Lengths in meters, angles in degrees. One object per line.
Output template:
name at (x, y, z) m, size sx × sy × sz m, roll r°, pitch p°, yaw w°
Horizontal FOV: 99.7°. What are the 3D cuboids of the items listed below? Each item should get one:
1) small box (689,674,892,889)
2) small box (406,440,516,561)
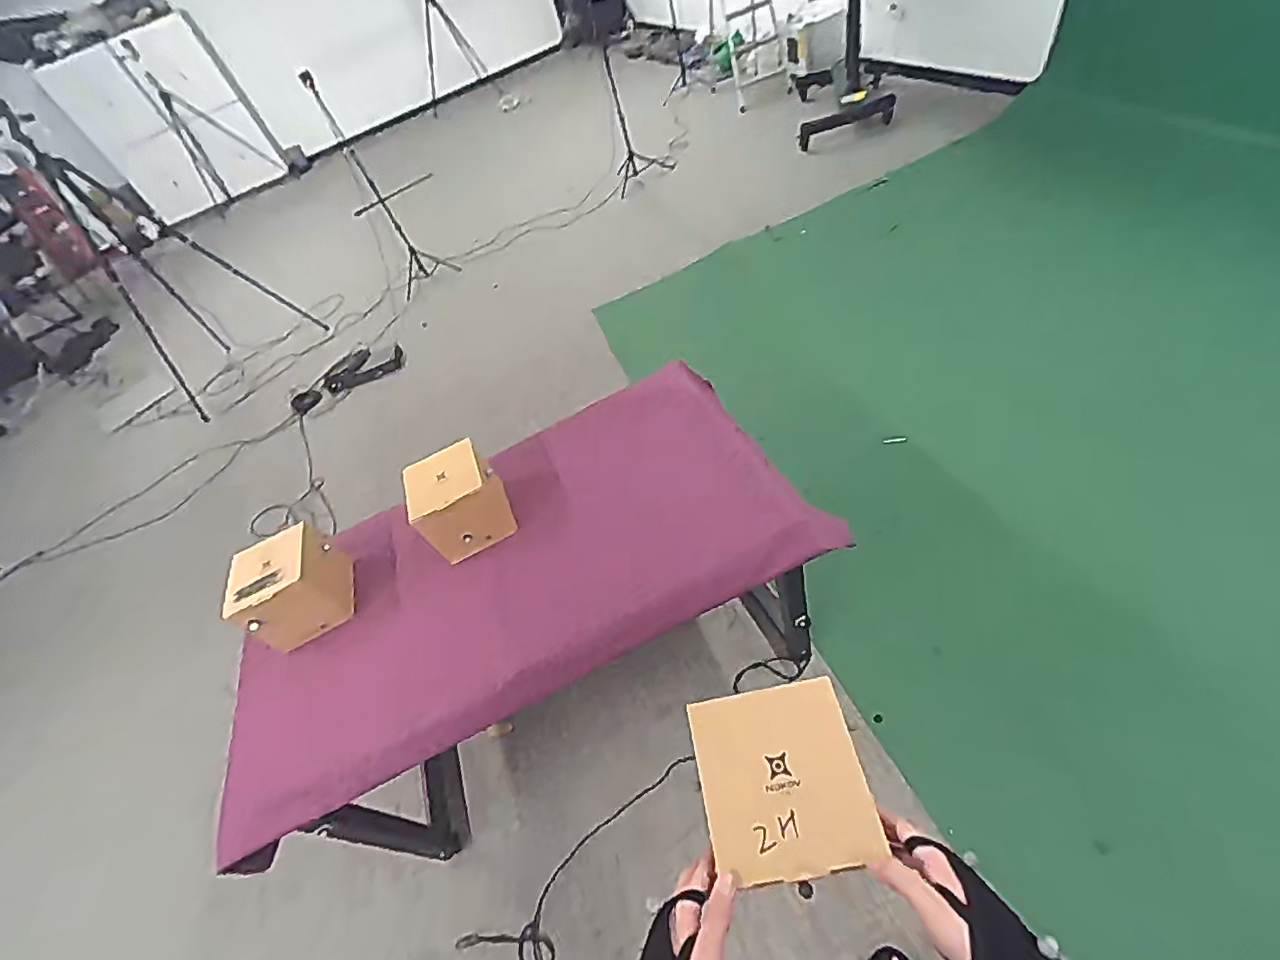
small box at (0.159, 0.348, 0.617) m, size 0.168 × 0.176 × 0.179 m, roll -13°, pitch 52°, yaw 5°
small box at (-0.398, 0.048, 1.208) m, size 0.168 × 0.176 × 0.179 m, roll -26°, pitch 48°, yaw -4°
